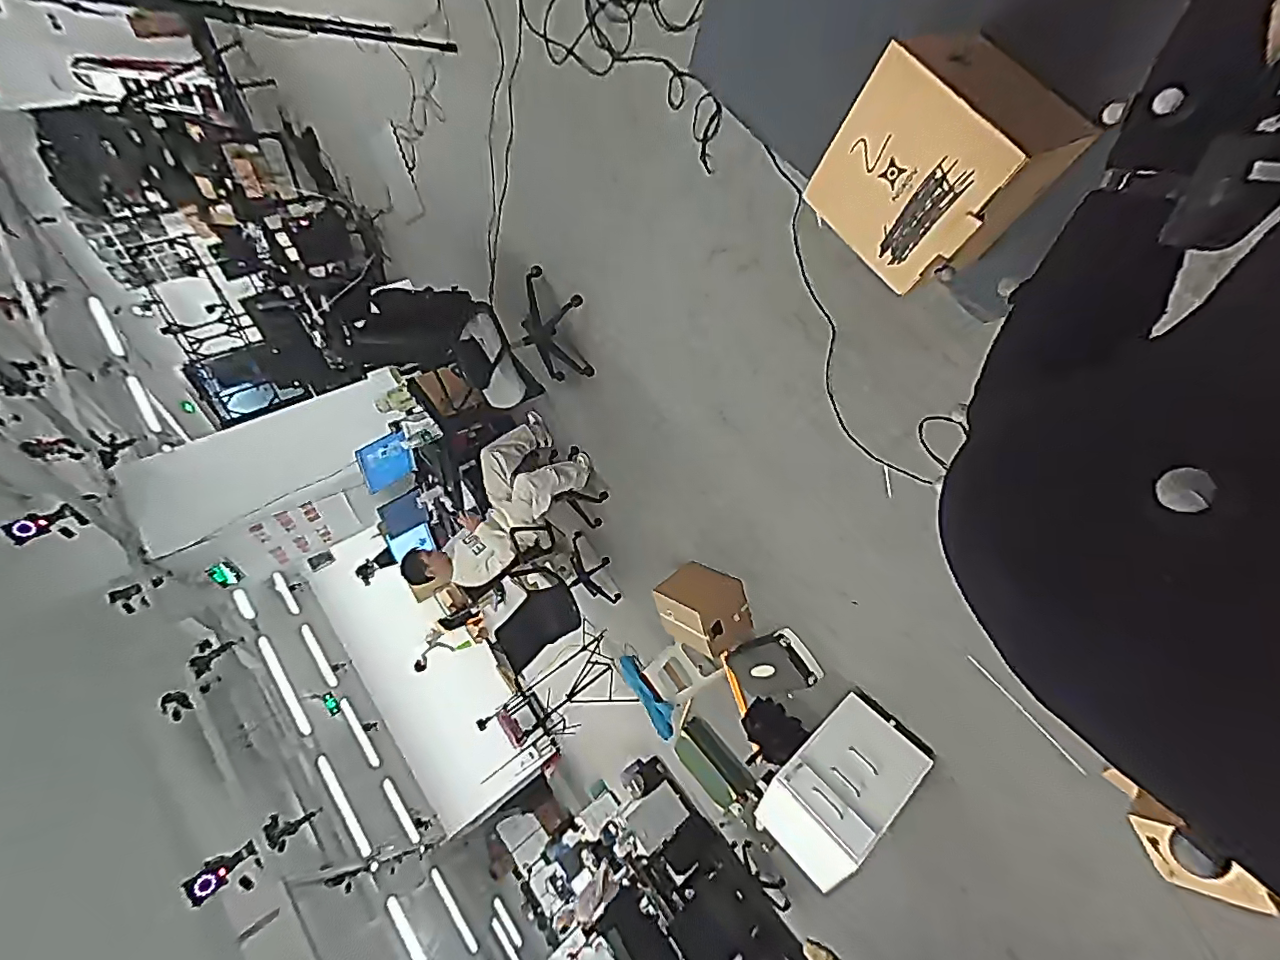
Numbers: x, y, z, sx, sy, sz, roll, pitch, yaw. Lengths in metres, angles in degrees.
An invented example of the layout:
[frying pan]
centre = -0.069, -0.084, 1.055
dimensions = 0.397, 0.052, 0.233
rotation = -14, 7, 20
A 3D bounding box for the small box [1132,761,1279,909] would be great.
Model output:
[small box]
centre = 1.187, 0.721, 1.124
dimensions = 0.168, 0.176, 0.179
rotation = 61, 150, -1
